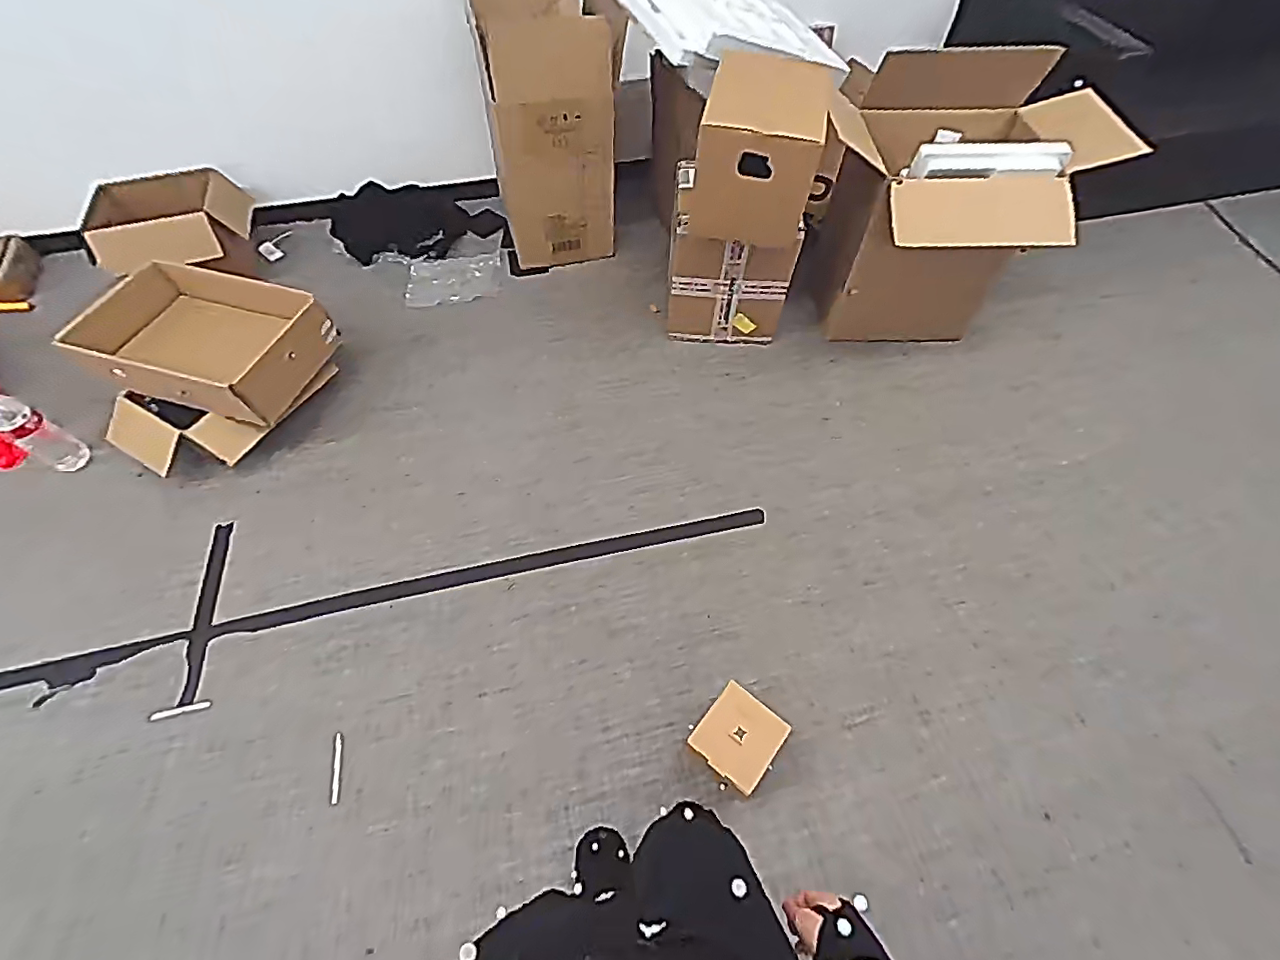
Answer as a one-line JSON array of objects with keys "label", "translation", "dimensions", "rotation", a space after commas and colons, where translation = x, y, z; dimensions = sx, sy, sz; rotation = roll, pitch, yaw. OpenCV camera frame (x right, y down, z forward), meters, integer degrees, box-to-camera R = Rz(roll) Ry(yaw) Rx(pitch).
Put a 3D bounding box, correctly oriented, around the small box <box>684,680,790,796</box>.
[{"label": "small box", "translation": [0.215, 0.601, 1.249], "dimensions": [0.168, 0.176, 0.179], "rotation": [35, 63, 19]}]
